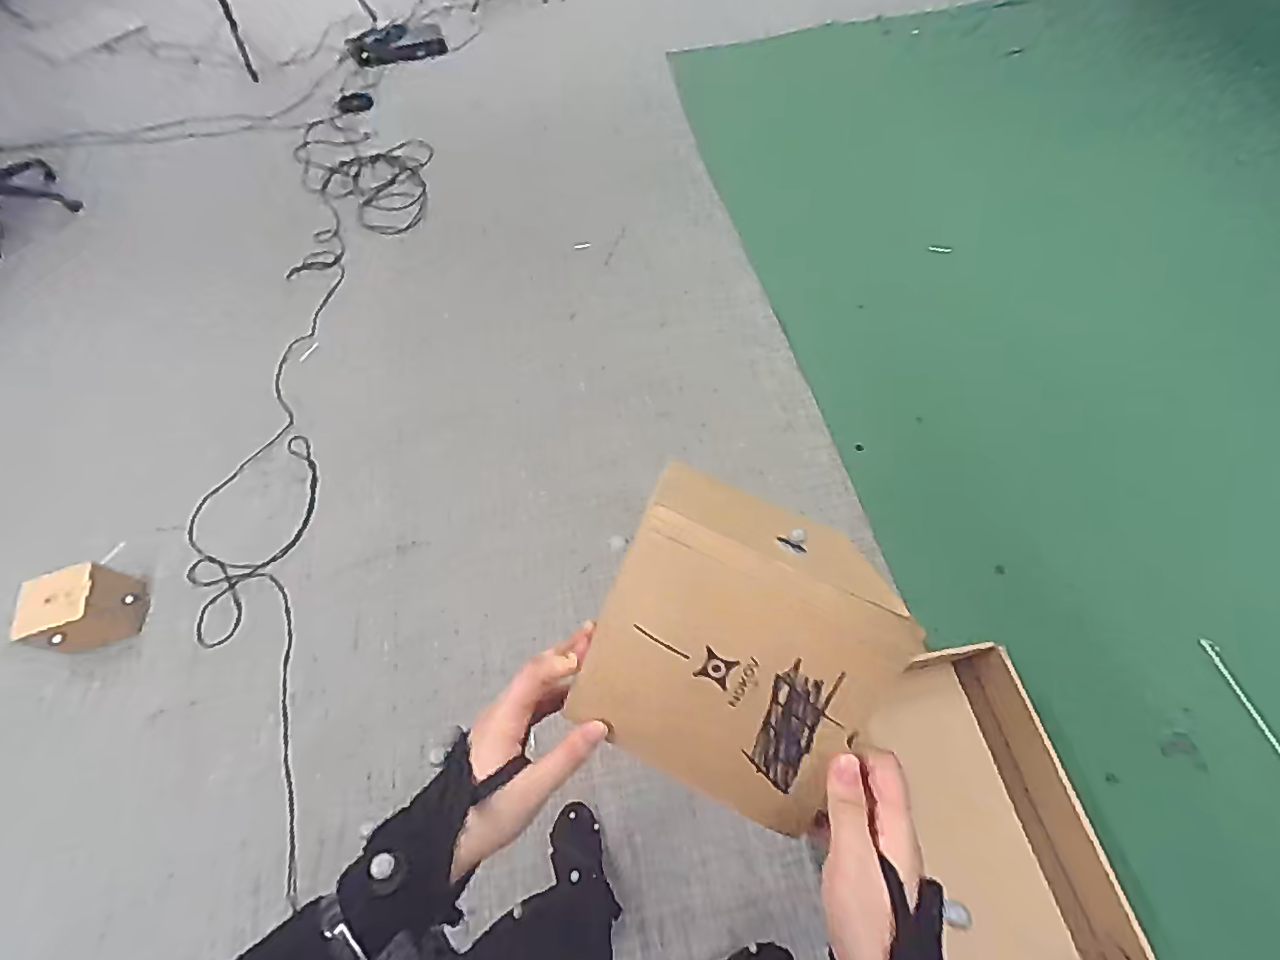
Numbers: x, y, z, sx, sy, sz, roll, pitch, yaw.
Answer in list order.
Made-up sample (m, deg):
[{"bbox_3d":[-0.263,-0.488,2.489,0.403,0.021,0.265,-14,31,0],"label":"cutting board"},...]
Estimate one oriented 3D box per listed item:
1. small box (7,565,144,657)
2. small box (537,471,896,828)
[{"bbox_3d":[-1.492,0.355,1.441,0.179,0.176,0.168,-19,62,-7],"label":"small box"},{"bbox_3d":[0.050,0.106,0.413,0.179,0.176,0.168,23,103,1],"label":"small box"}]
